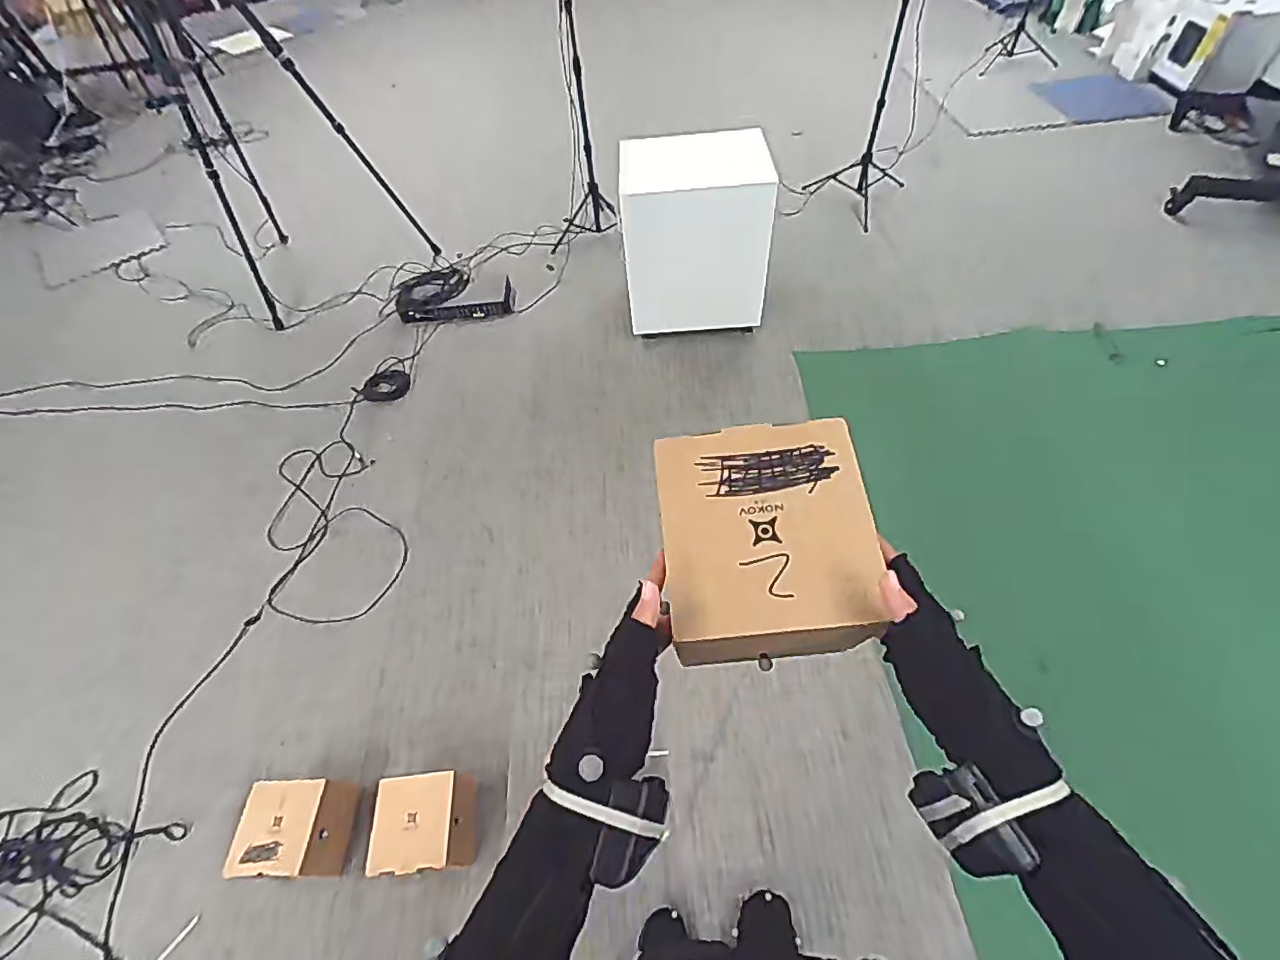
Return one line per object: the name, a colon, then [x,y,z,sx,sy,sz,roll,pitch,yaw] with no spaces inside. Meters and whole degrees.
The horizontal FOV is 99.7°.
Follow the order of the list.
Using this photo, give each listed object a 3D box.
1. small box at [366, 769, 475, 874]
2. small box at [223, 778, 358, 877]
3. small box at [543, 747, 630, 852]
small box: [-0.473,0.758,1.197,0.168,0.176,0.179,-7,54,0]
small box: [-0.763,0.776,1.206,0.168,0.176,0.179,-3,53,3]
small box: [-0.116,0.711,1.201,0.168,0.176,0.179,-8,54,-2]
